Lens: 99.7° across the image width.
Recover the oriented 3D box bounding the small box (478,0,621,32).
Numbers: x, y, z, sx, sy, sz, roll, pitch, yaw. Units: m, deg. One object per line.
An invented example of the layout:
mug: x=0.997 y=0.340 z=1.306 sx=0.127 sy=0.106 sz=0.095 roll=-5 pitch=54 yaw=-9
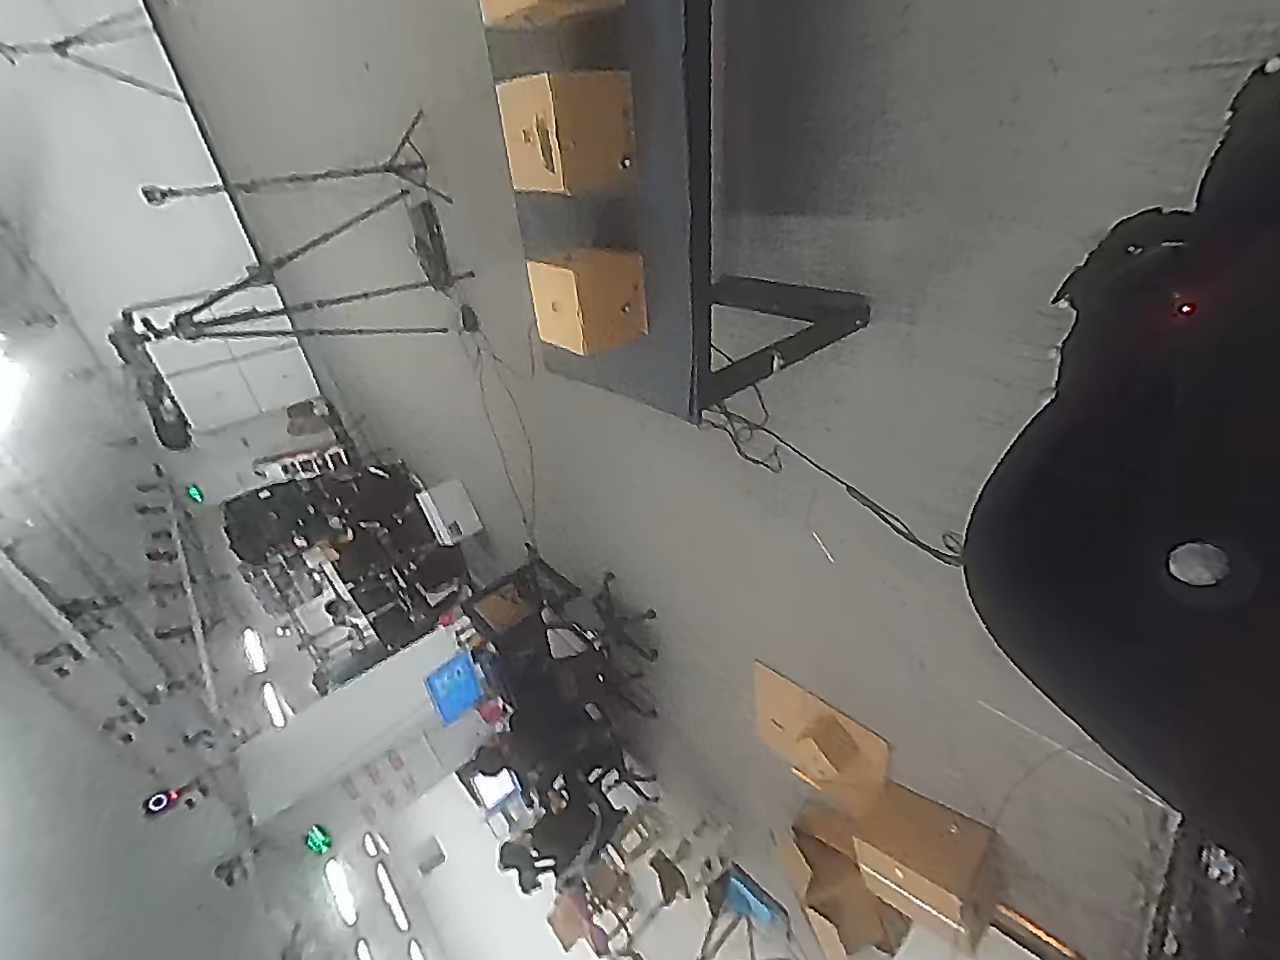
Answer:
small box: x=-0.149 y=-0.815 z=0.837 sx=0.179 sy=0.176 sz=0.168 roll=27 pitch=135 yaw=42

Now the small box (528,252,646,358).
small box: x=-0.107 y=-0.370 z=1.124 sx=0.179 sy=0.176 sz=0.168 roll=28 pitch=135 yaw=42

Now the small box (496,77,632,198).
small box: x=-0.127 y=-0.611 z=0.966 sx=0.179 sy=0.176 sz=0.168 roll=29 pitch=136 yaw=41
